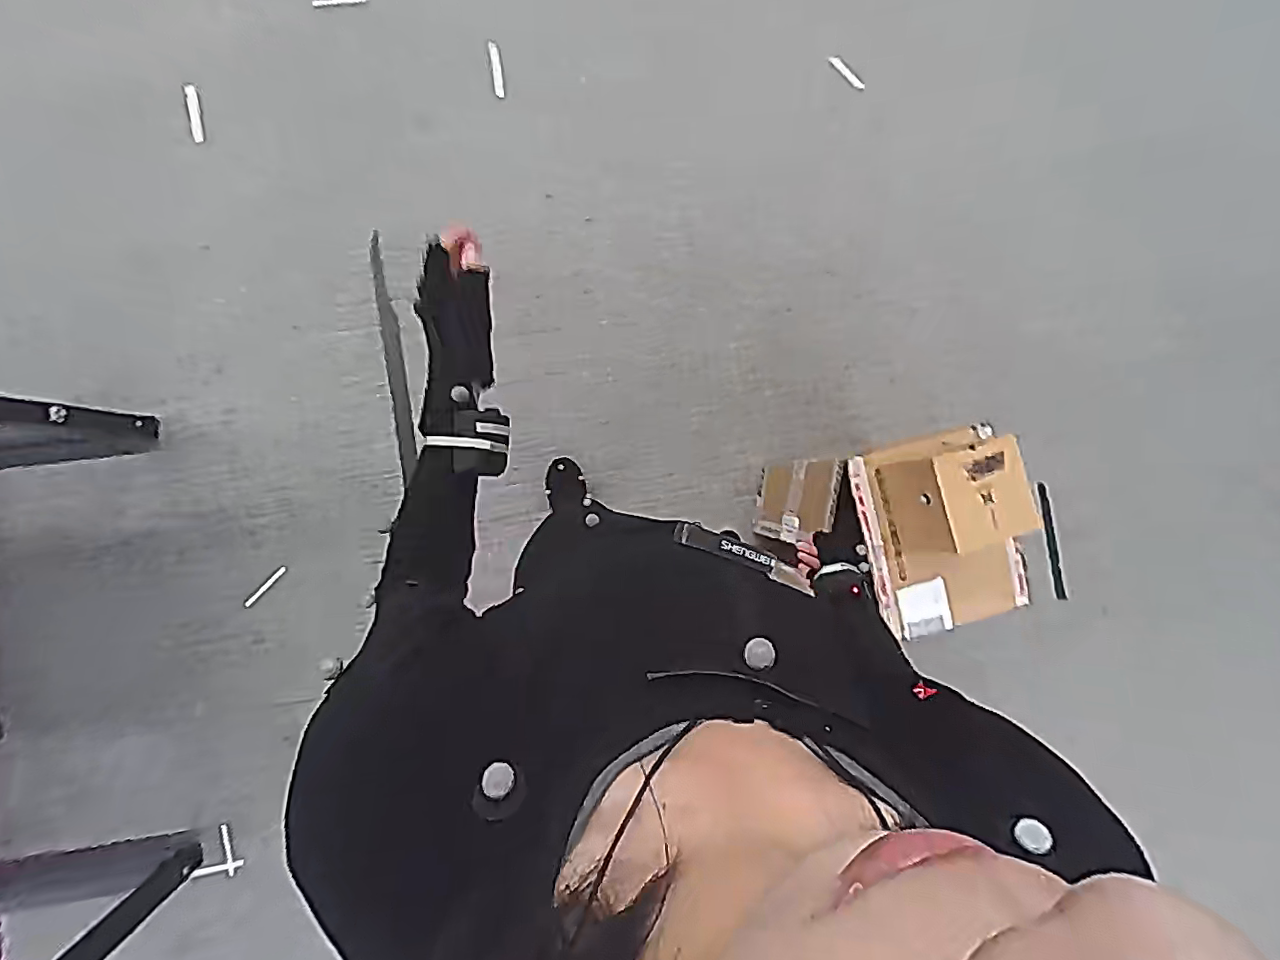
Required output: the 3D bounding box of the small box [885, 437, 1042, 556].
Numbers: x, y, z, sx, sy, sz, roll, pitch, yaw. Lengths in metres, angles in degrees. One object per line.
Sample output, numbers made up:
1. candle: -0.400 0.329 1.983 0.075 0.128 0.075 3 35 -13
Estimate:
1. small box: 0.589 0.032 1.009 0.168 0.176 0.179 -15 89 -6
